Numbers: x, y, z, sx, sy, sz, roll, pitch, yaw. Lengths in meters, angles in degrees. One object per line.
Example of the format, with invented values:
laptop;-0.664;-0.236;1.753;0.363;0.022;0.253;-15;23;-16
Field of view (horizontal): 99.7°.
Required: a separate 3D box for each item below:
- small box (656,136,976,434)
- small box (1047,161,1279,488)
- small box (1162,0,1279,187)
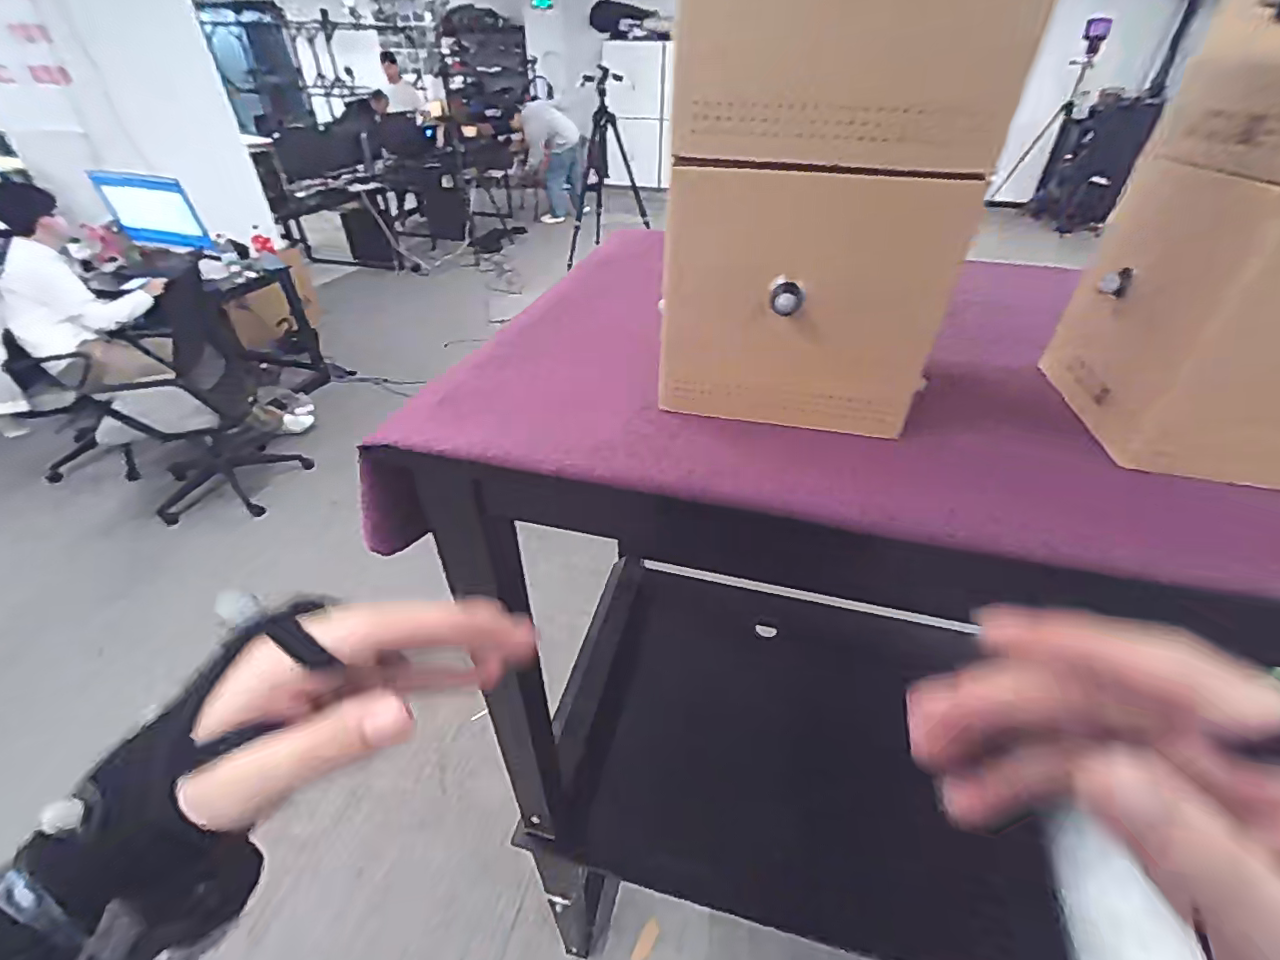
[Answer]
small box;0.112;-0.150;0.411;0.179;0.176;0.168;7;38;10
small box;0.414;-0.105;0.360;0.179;0.176;0.168;9;38;10
small box;0.417;-0.238;0.262;0.179;0.176;0.168;10;38;11
